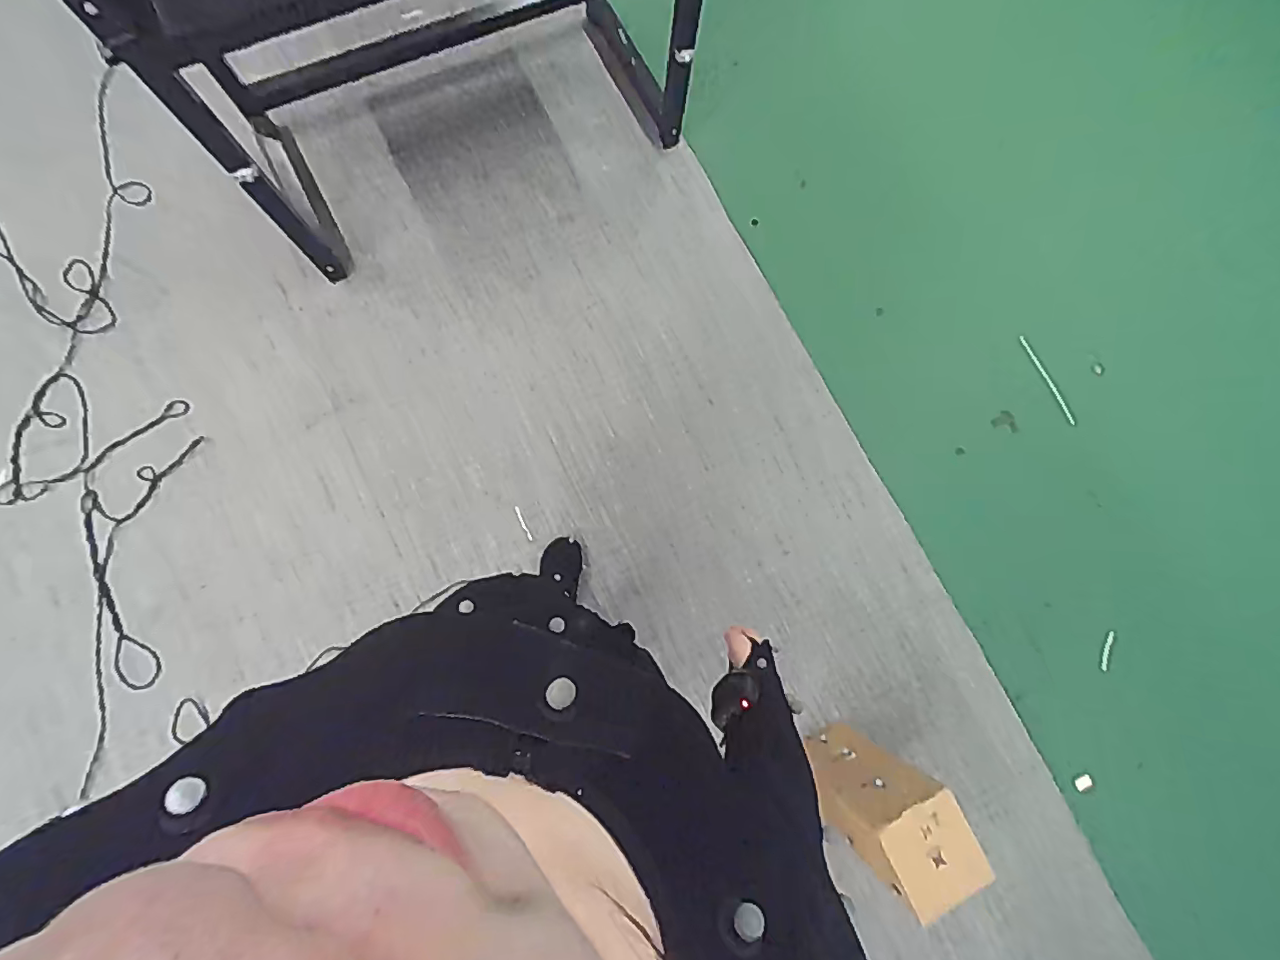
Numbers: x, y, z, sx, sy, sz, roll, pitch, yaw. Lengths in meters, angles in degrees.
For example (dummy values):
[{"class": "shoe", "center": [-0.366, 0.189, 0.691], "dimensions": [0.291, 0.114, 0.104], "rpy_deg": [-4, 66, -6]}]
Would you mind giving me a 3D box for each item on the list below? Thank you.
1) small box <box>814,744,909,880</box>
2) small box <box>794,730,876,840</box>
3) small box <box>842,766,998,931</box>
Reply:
[{"class": "small box", "center": [0.521, 0.726, 1.206], "dimensions": [0.168, 0.176, 0.179], "rpy_deg": [-25, 81, -9]}, {"class": "small box", "center": [0.515, 0.755, 1.365], "dimensions": [0.168, 0.176, 0.179], "rpy_deg": [-22, 81, -7]}, {"class": "small box", "center": [0.528, 0.695, 1.044], "dimensions": [0.168, 0.176, 0.179], "rpy_deg": [-24, 82, -9]}]
